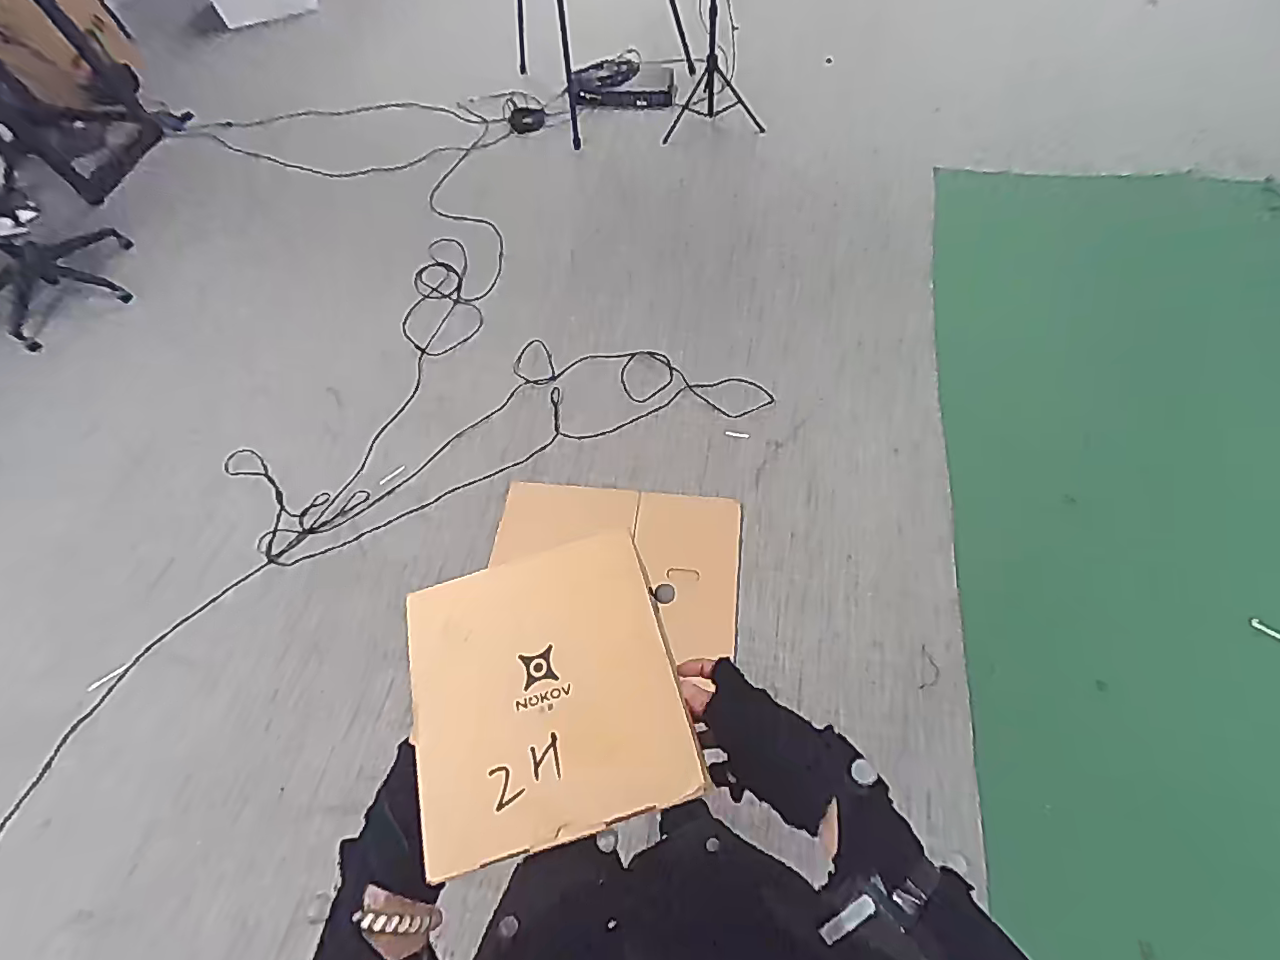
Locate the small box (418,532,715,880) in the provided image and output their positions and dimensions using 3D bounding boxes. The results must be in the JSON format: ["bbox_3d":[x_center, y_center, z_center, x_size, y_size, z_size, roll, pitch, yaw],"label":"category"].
[{"bbox_3d":[-0.049,0.169,0.413,0.168,0.176,0.179,-17,61,-1],"label":"small box"}]
